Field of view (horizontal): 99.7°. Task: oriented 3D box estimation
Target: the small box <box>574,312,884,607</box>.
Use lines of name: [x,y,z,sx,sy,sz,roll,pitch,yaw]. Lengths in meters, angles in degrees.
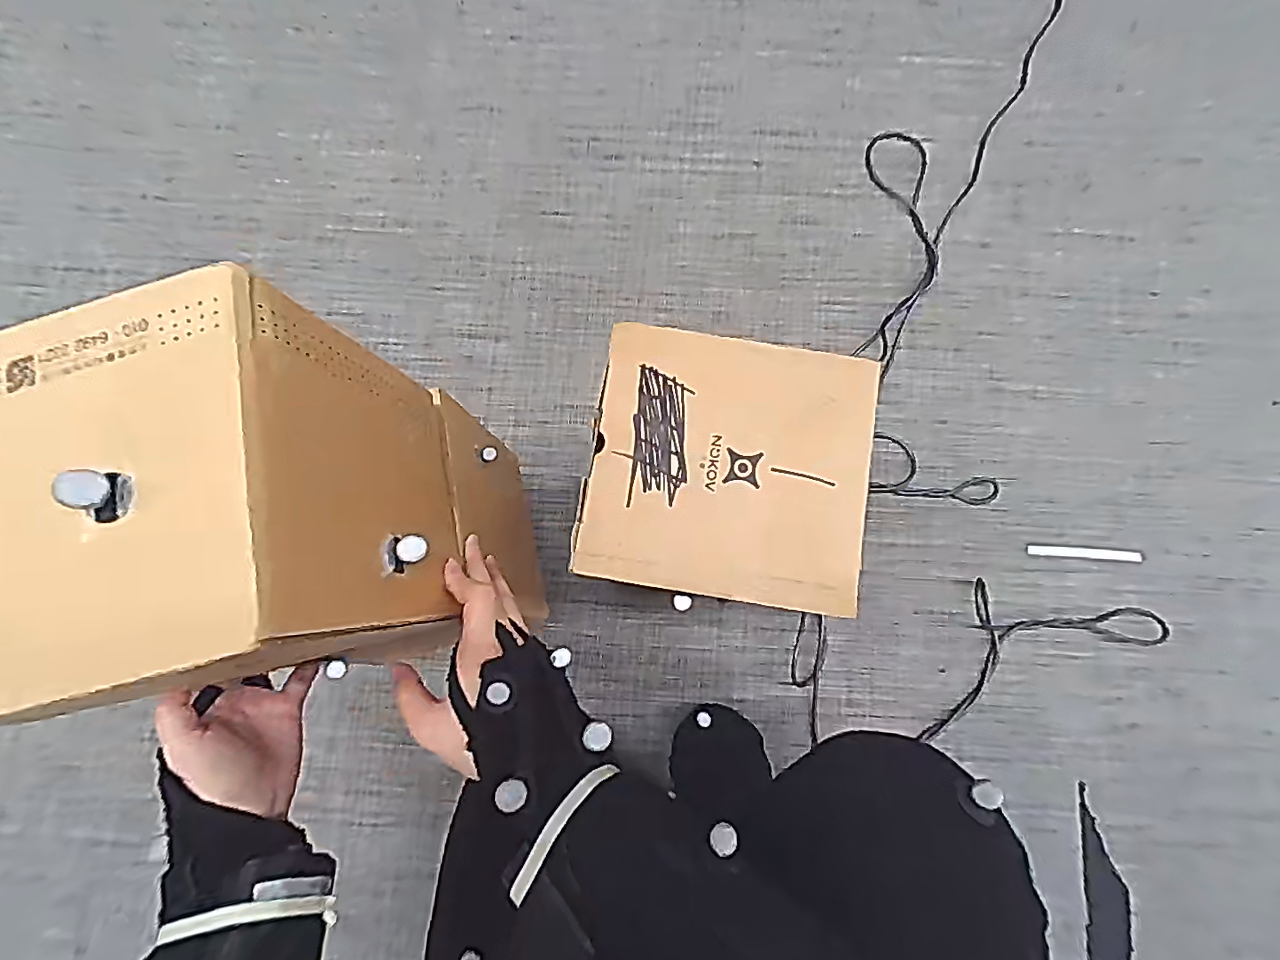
small box: [0.057,-0.004,0.413,0.179,0.176,0.168,9,81,1]
